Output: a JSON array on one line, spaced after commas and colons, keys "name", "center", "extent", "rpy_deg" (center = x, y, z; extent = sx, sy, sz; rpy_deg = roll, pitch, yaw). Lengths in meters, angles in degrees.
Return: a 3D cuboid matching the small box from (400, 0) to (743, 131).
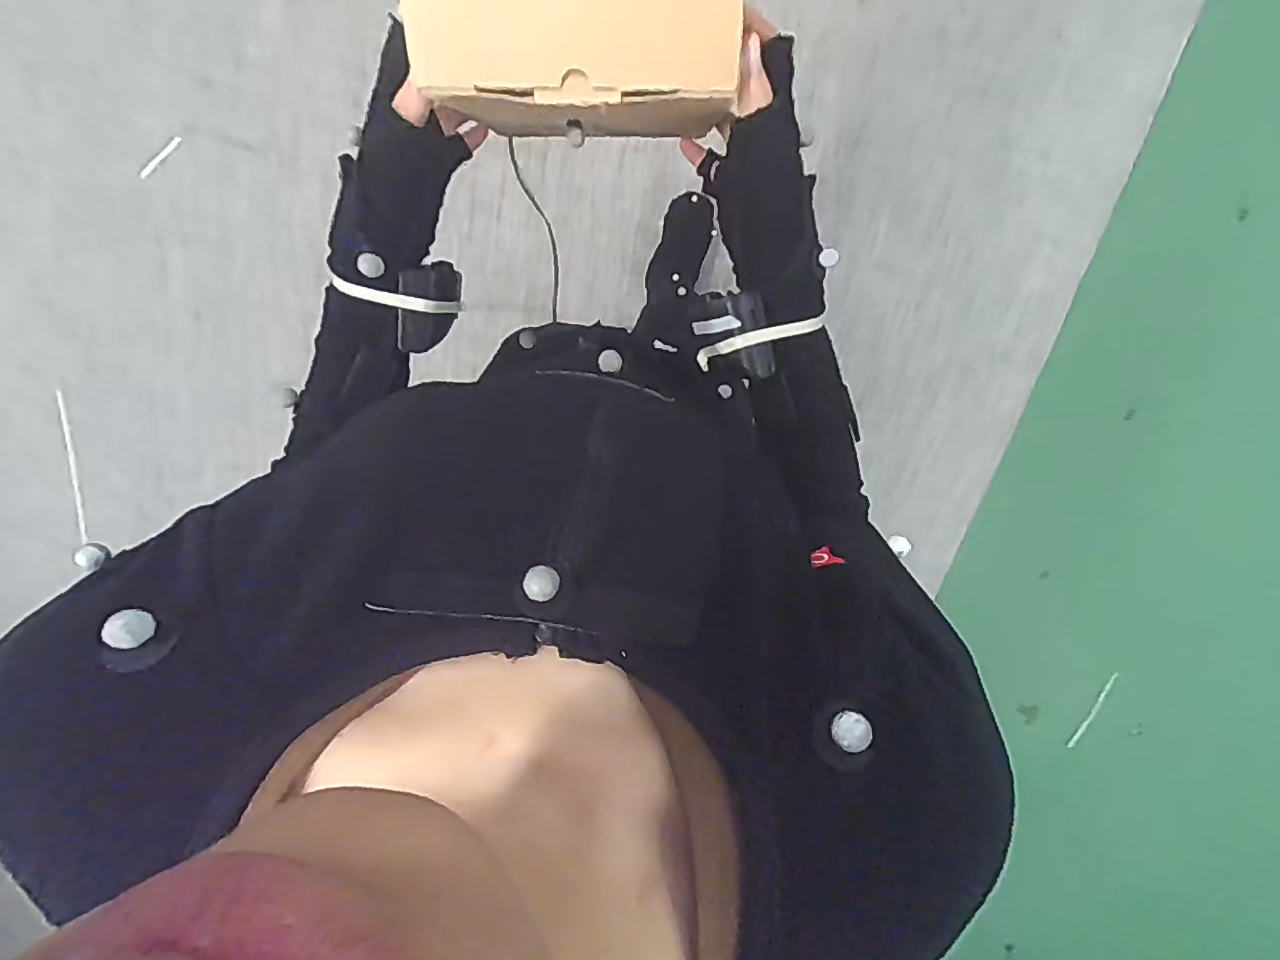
[{"name": "small box", "center": [-0.032, -0.312, 0.304], "extent": [0.168, 0.176, 0.179], "rpy_deg": [0, 117, 1]}]
